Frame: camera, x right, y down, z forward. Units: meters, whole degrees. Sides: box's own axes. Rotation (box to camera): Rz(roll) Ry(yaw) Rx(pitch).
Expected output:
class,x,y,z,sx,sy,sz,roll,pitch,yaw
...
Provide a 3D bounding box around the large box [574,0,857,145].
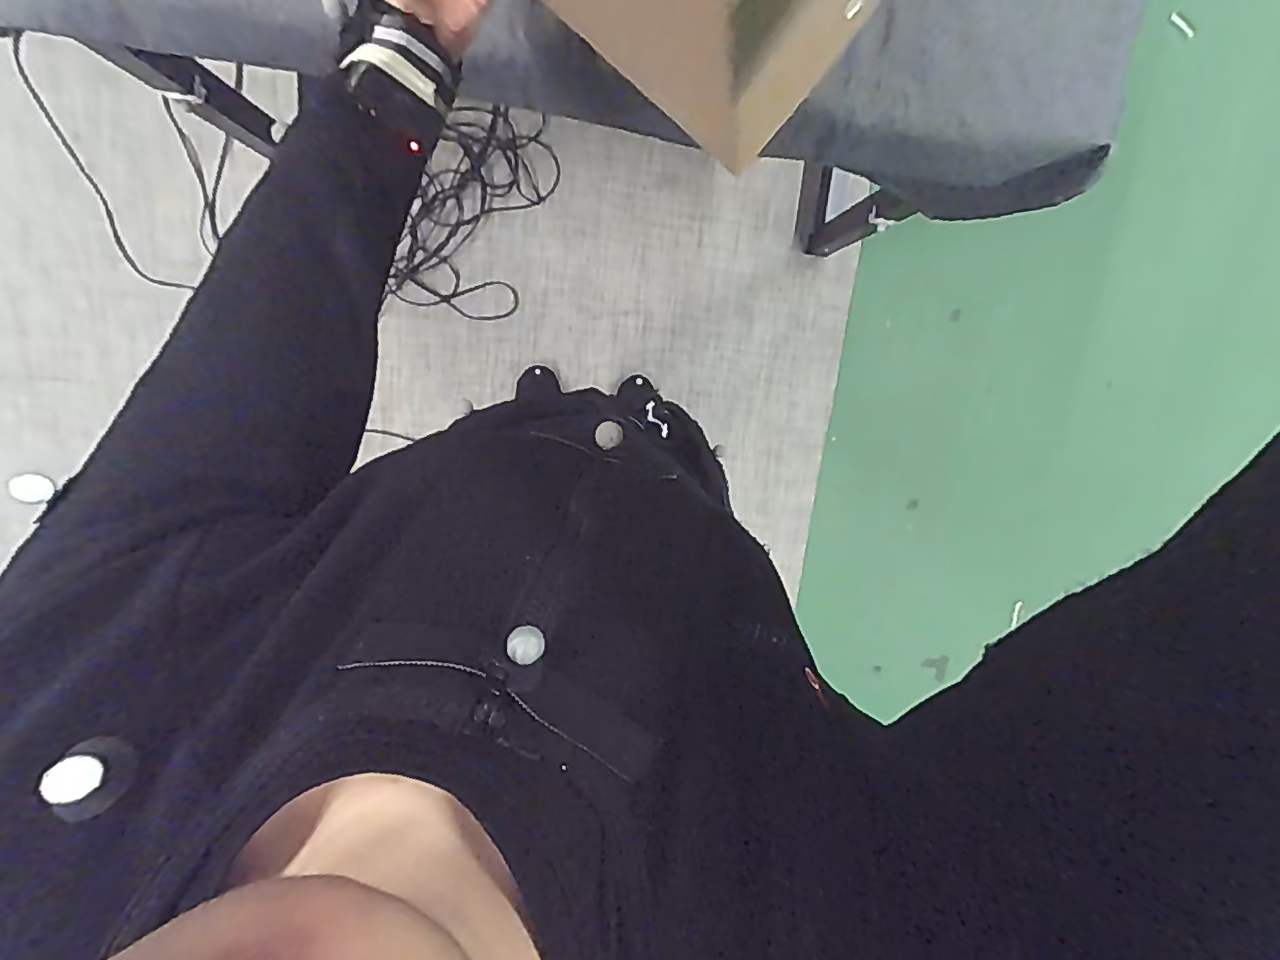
class,x,y,z,sx,sy,sz,roll,pitch,yaw
large box,0.027,-0.408,0.210,0.320,0.408,0.320,39,113,-8
